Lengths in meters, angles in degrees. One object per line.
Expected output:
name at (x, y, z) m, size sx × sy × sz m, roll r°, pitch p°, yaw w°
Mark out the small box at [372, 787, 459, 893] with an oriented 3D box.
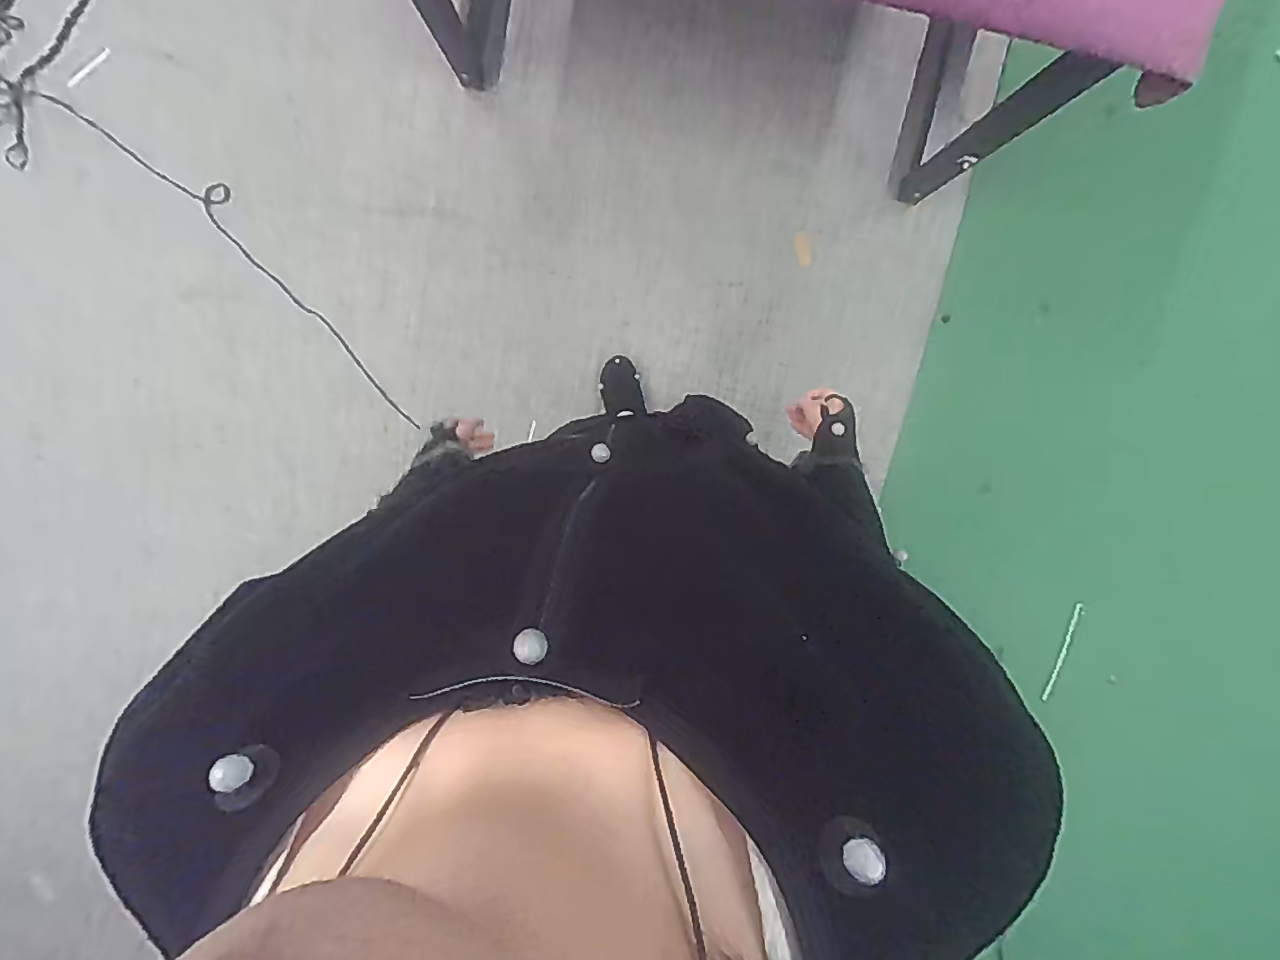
small box at (-0.647, 1.043, 1.582) m, size 0.168 × 0.176 × 0.179 m, roll 18°, pitch 100°, yaw -3°
